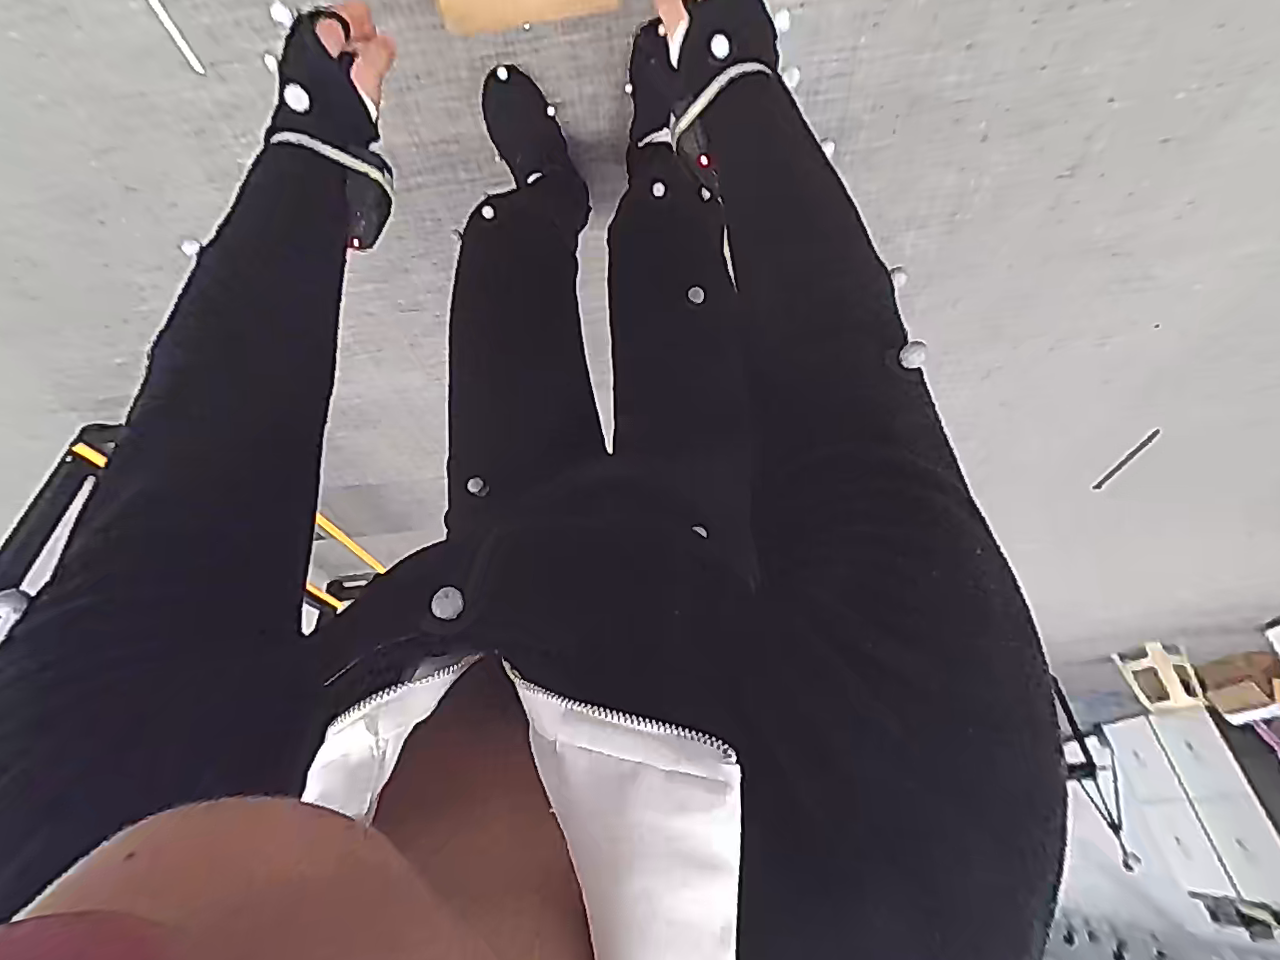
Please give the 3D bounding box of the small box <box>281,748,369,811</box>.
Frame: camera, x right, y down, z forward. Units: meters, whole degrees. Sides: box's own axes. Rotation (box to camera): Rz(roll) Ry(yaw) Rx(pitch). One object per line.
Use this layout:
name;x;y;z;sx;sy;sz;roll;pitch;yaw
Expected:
small box;-1.028;0.991;1.783;0.179;0.176;0.168;-5;148;1

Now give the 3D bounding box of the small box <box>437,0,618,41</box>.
small box;-0.118;-0.562;0.520;0.179;0.176;0.168;-6;147;3
